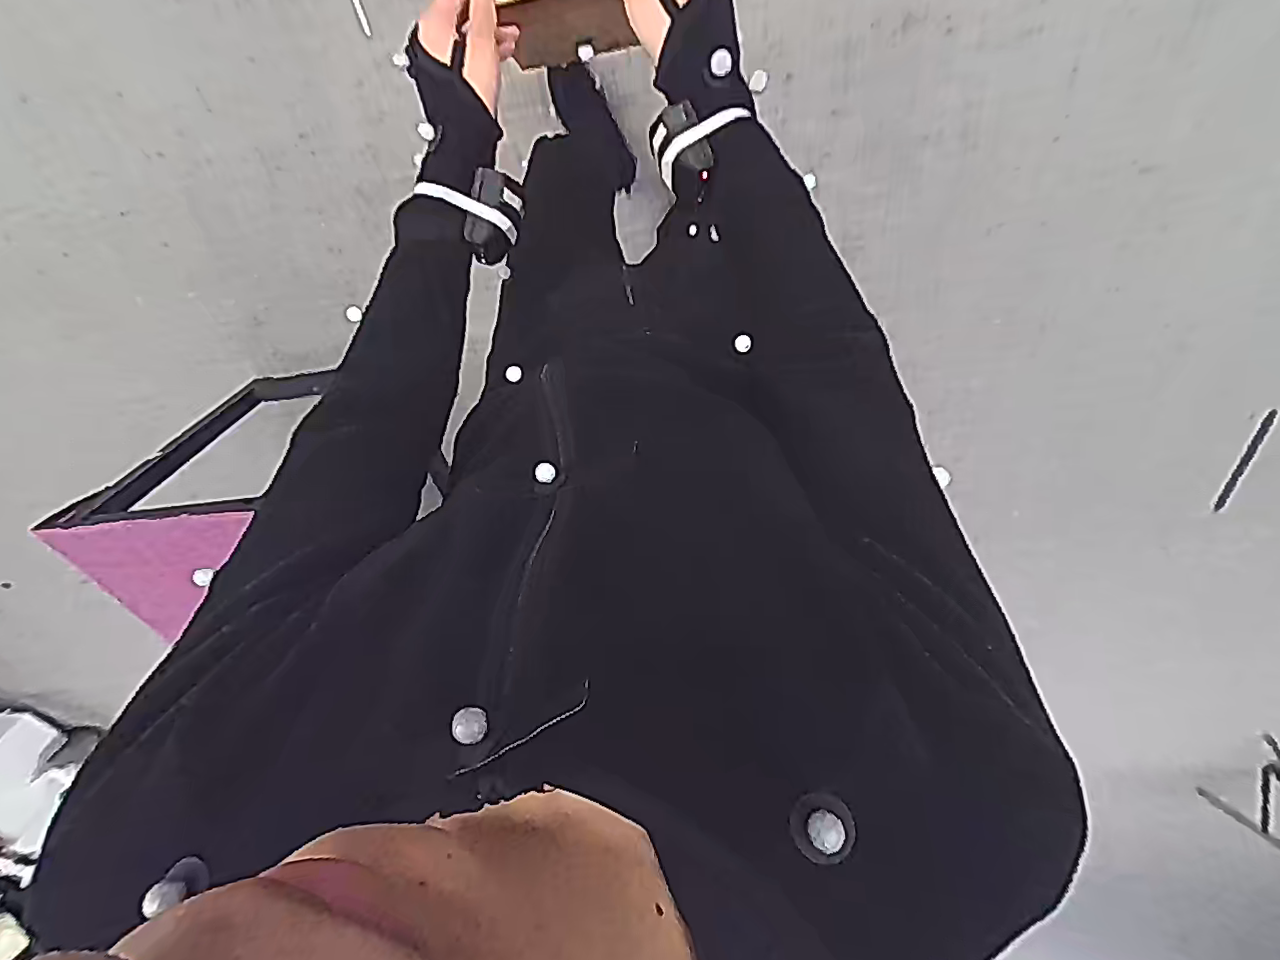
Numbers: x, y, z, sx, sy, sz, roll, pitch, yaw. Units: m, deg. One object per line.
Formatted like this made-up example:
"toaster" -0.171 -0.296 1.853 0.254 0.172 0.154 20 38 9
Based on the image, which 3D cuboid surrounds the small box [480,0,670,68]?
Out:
"small box" -0.065 -0.507 0.476 0.168 0.176 0.179 -8 112 6
